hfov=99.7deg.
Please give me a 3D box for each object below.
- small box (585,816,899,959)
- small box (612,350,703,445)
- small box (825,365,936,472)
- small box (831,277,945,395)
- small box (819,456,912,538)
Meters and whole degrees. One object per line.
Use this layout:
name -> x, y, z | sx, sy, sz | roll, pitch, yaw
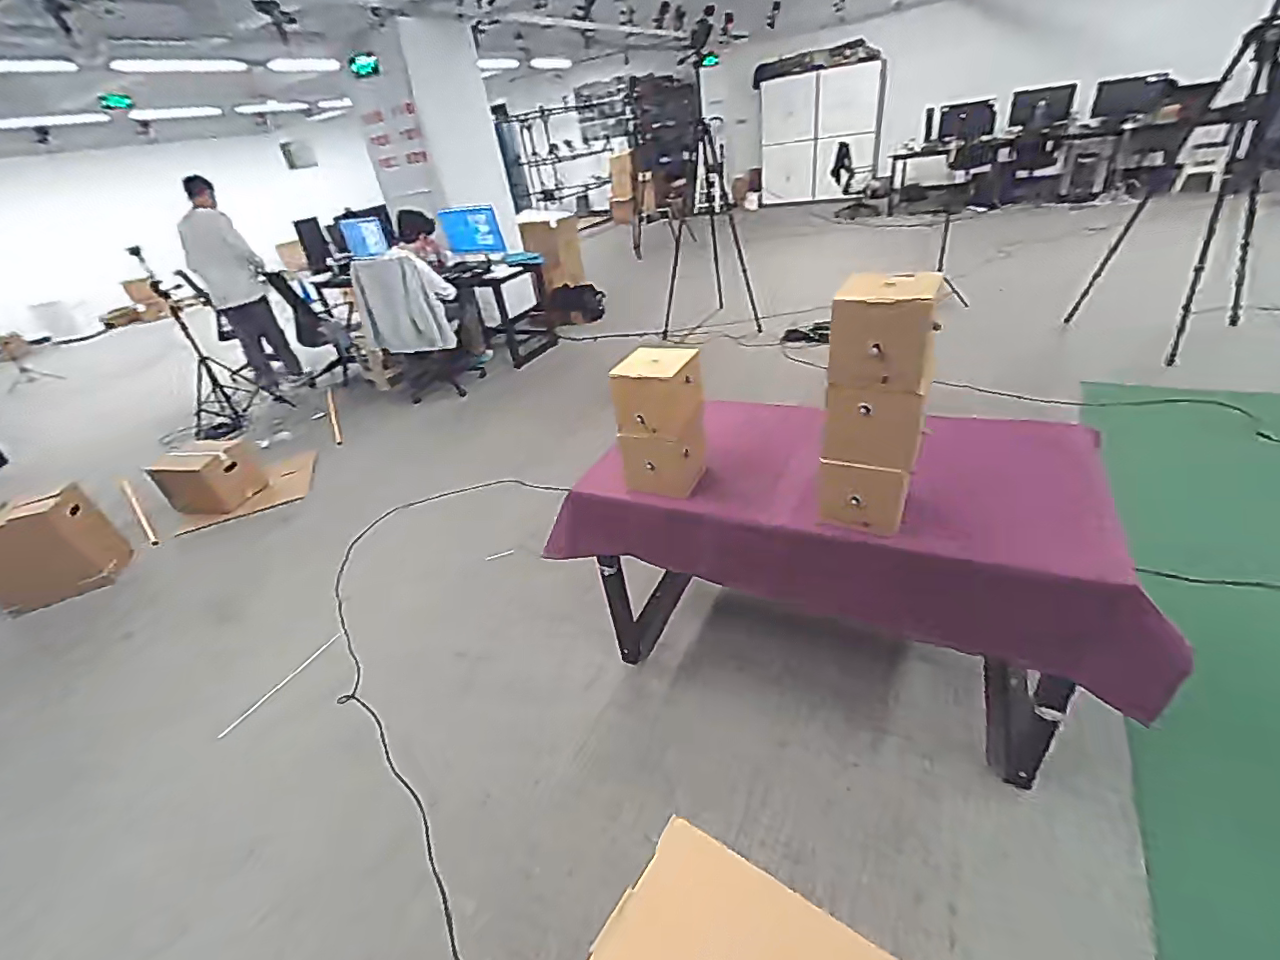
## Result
small box -> 0.061, 0.385, 0.360 | 0.179, 0.176, 0.168 | 14, 37, 36
small box -> 0.052, -0.208, 1.336 | 0.168, 0.176, 0.179 | 9, 37, 26
small box -> 0.487, -0.133, 1.107 | 0.179, 0.176, 0.168 | 12, 38, 29
small box -> 0.466, -0.274, 1.025 | 0.168, 0.176, 0.179 | 11, 39, 29
small box -> 0.501, 0.005, 1.197 | 0.168, 0.176, 0.179 | 11, 38, 28
